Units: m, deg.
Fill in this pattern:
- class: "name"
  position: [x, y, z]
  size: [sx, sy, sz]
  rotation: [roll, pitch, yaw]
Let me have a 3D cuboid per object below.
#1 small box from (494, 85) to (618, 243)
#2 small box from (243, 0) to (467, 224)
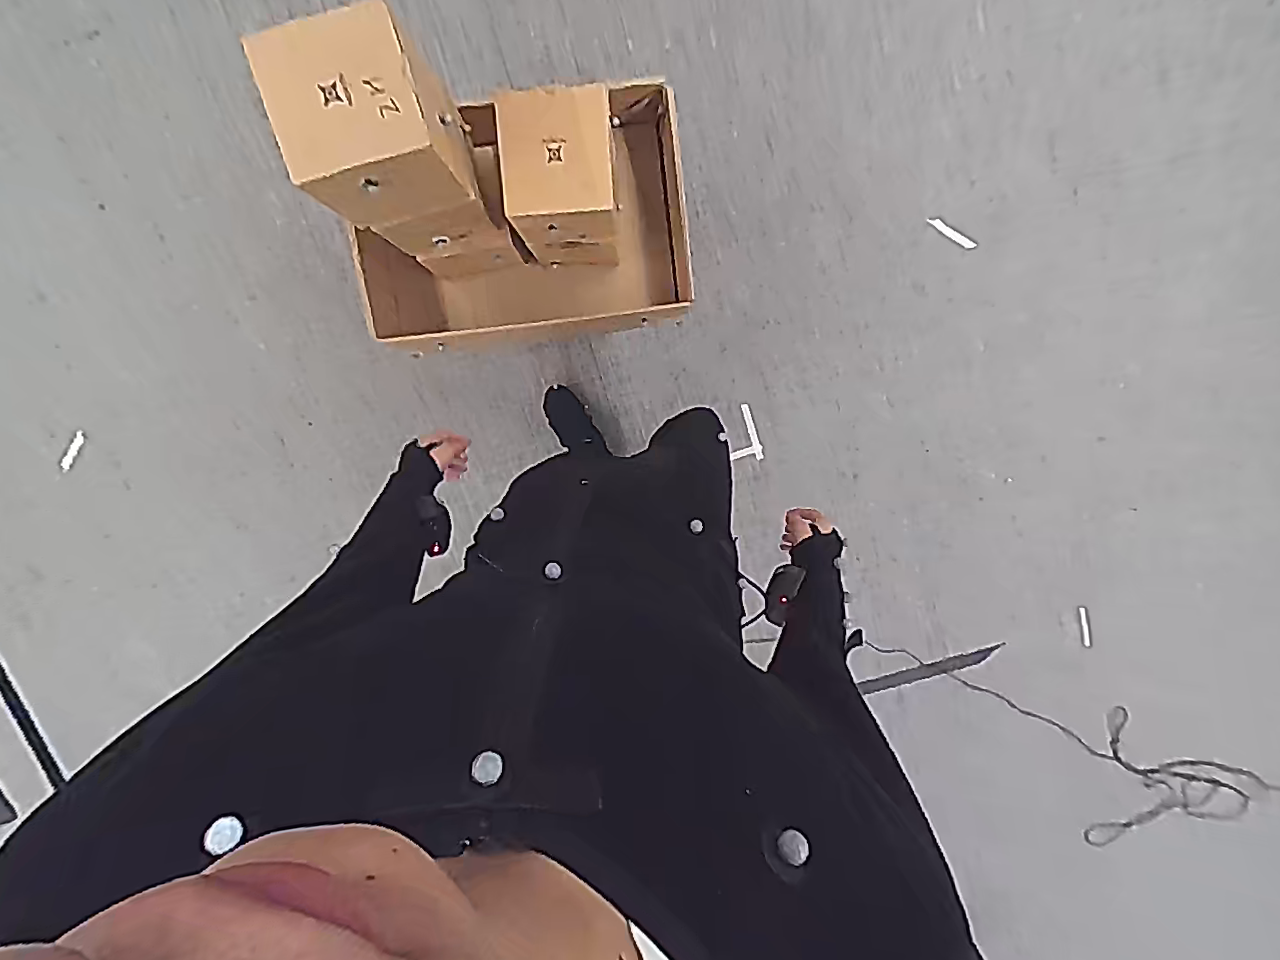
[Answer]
- class: "small box"
  position: [-0.126, -0.494, 0.874]
  size: [0.168, 0.176, 0.179]
  rotation: [-4, 99, 1]
- class: "small box"
  position: [-0.353, -0.458, 0.706]
  size: [0.179, 0.176, 0.168]
  rotation: [-16, 100, 0]
